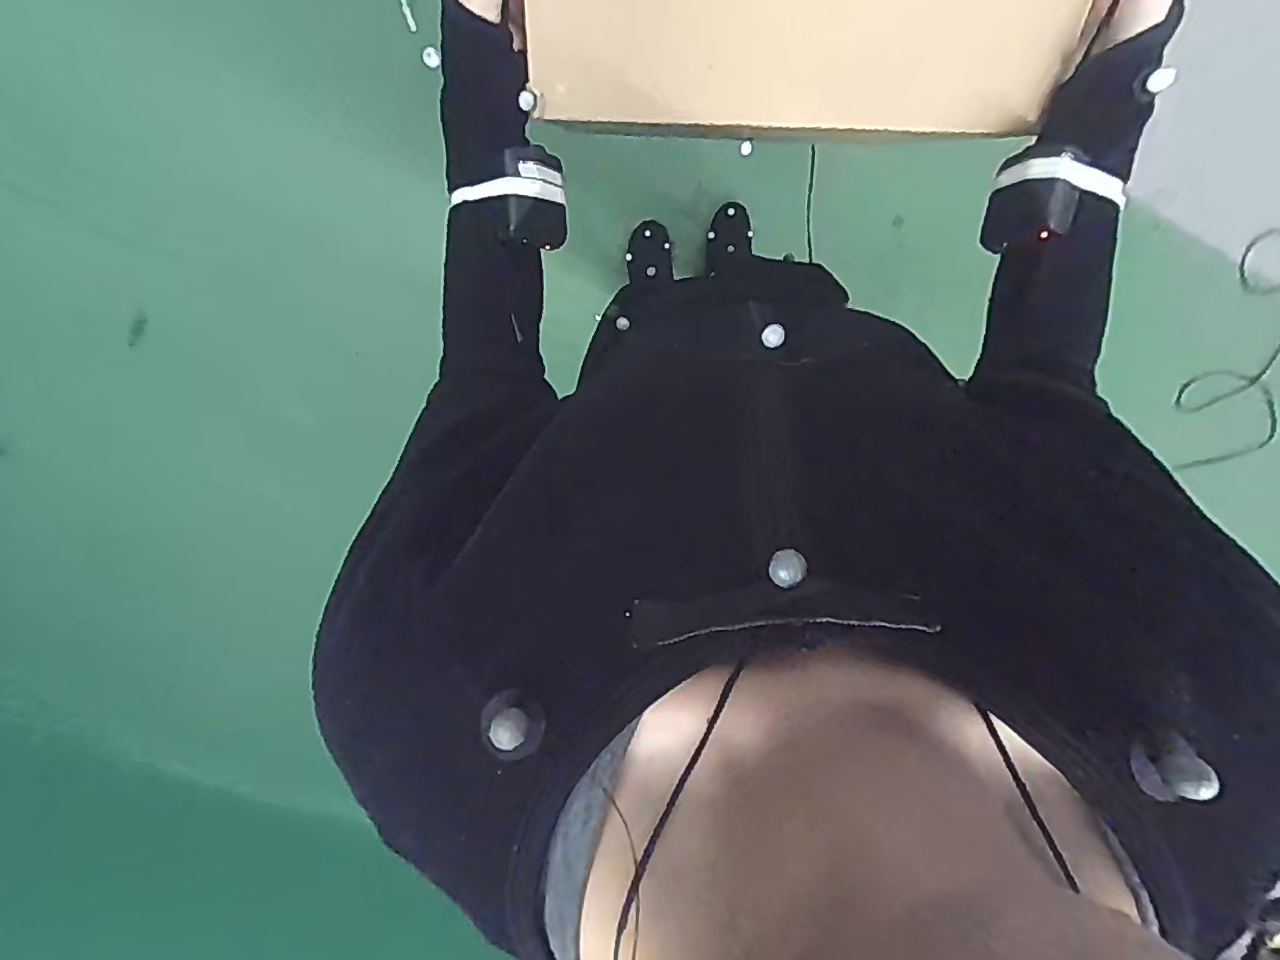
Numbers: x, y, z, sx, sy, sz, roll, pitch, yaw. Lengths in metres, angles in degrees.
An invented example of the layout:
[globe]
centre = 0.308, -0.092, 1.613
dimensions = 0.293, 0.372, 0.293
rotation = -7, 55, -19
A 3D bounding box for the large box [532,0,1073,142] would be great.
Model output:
[large box]
centre = 0.120, -0.487, 0.483
dimensions = 0.408, 0.320, 0.320
rotation = 1, 120, -2
